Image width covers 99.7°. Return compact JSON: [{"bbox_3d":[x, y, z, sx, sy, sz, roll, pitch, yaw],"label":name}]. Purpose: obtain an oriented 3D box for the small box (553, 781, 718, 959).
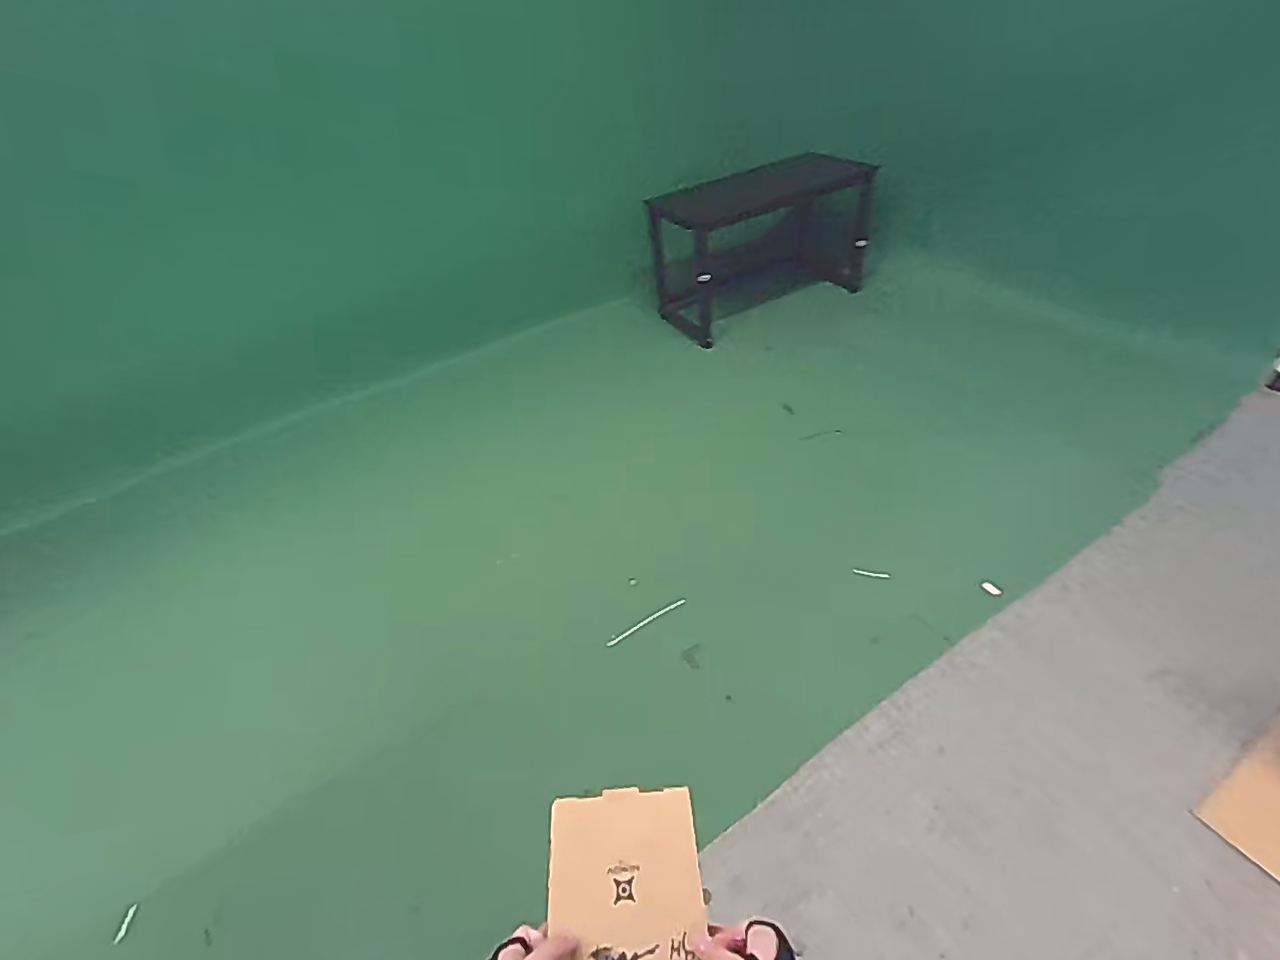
[{"bbox_3d":[-0.005,0.481,0.635,0.168,0.176,0.179,-5,43,0],"label":"small box"}]
